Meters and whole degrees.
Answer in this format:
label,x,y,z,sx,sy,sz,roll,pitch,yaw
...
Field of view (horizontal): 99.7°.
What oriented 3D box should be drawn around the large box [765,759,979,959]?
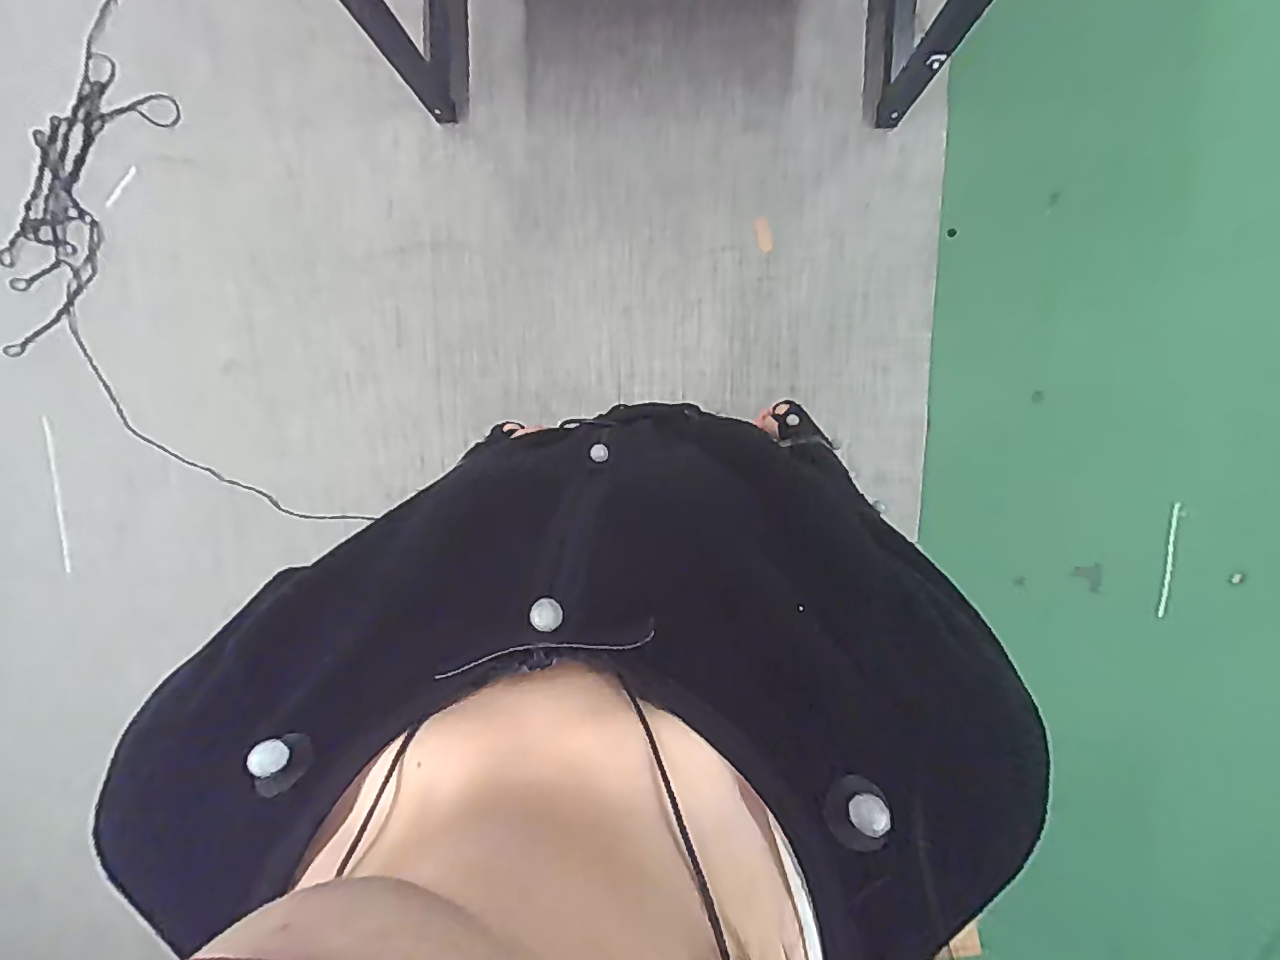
label,x,y,z,sx,sy,sz,roll,pitch,yaw
large box,0.584,1.005,1.430,0.408,0.320,0.320,-14,96,3
